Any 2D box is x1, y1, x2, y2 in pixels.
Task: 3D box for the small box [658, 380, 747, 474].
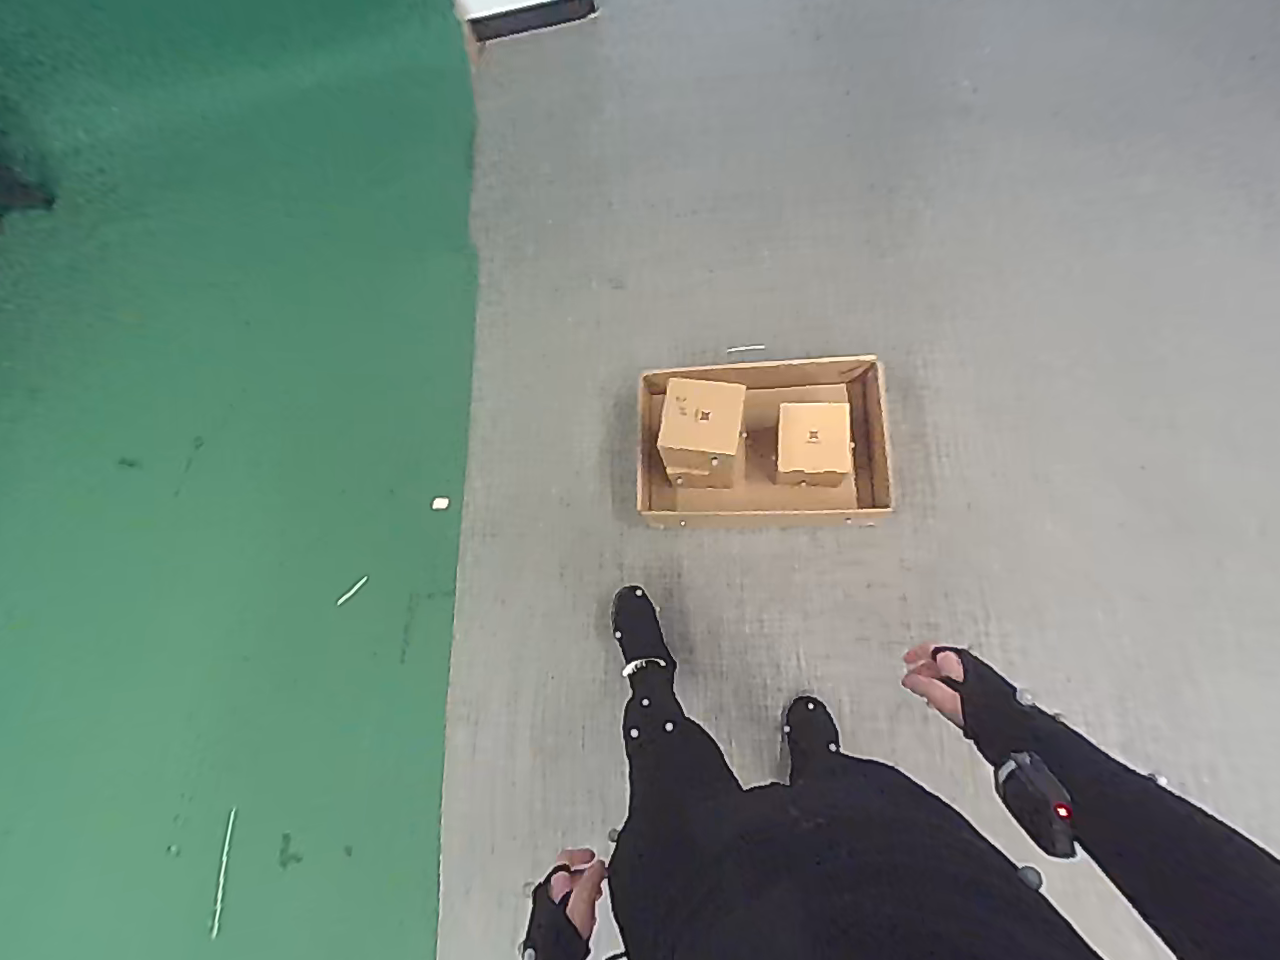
[{"bbox_3d":[0.149,-0.118,1.267,0.179,0.176,0.168,8,77,11],"label":"small box"}]
